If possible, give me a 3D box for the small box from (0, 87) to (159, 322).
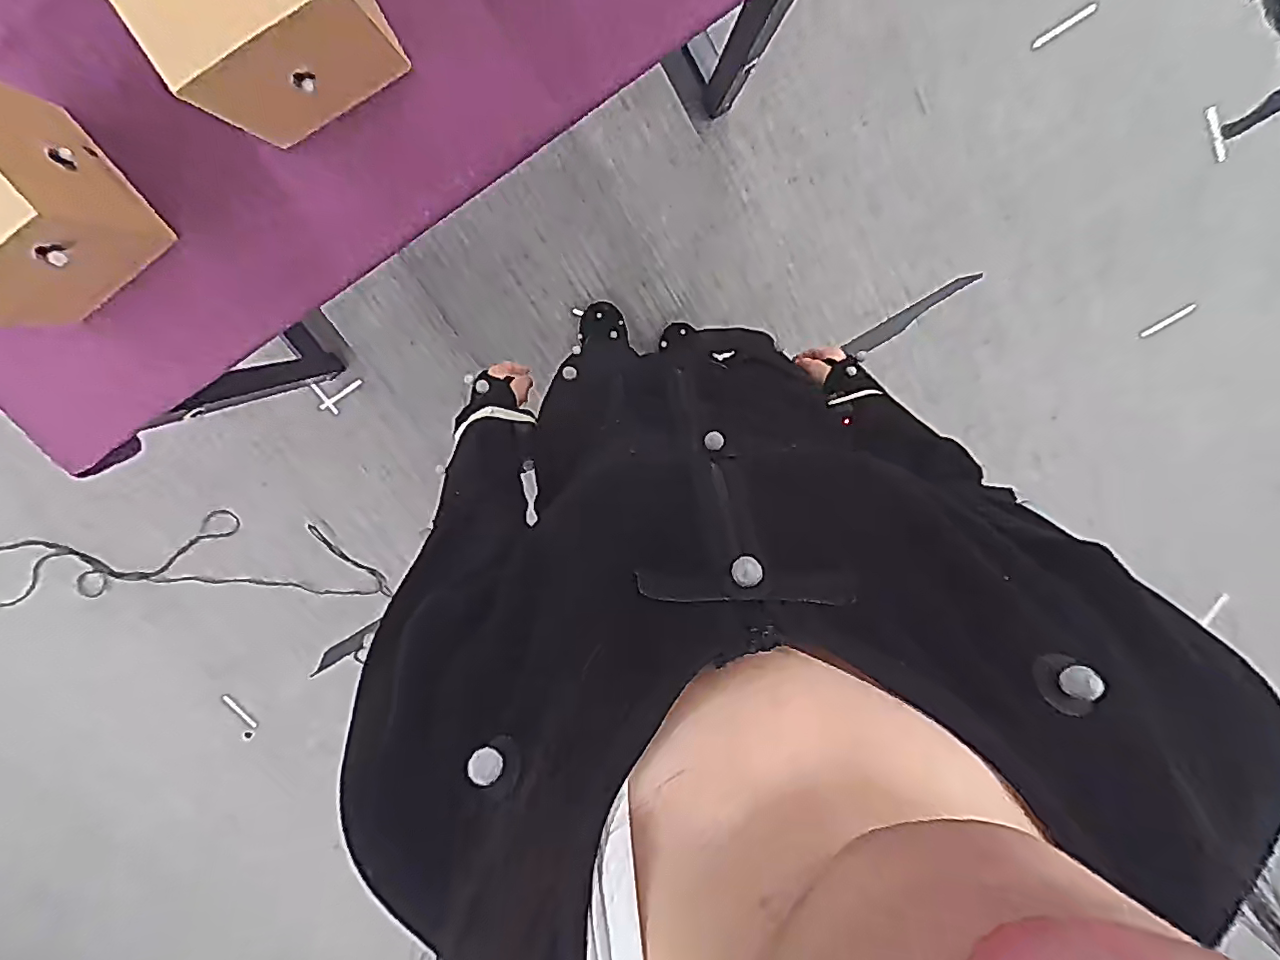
[{"bbox_3d":[-0.650,-0.277,0.542,0.179,0.176,0.168,-34,105,7],"label":"small box"}]
